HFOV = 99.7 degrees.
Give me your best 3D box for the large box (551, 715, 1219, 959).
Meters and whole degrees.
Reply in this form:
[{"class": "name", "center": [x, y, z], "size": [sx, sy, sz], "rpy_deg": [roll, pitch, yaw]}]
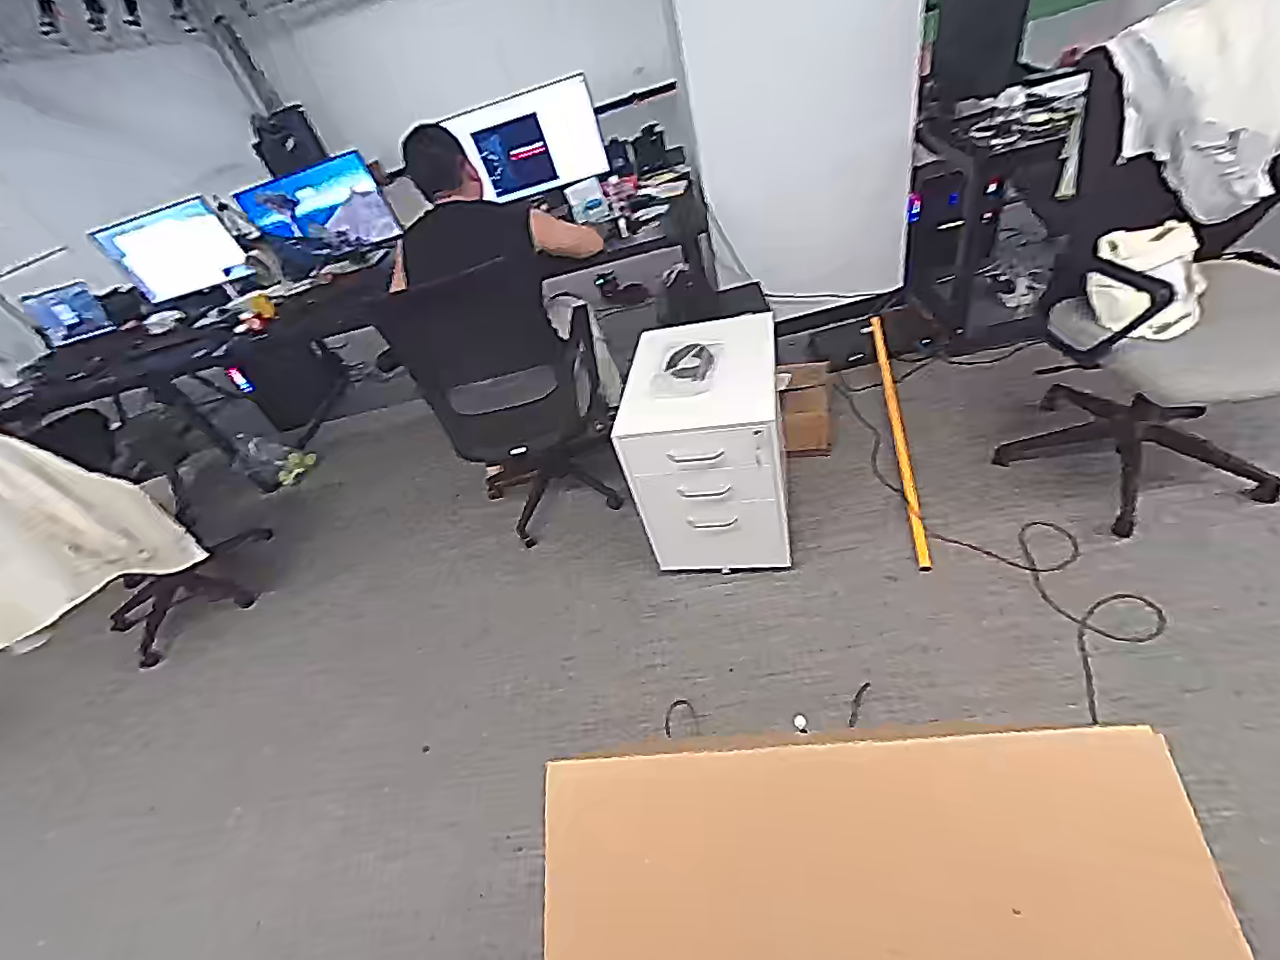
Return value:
[{"class": "large box", "center": [0.167, 0.388, 0.460], "size": [0.408, 0.320, 0.320], "rpy_deg": [-8, 66, 7]}]
